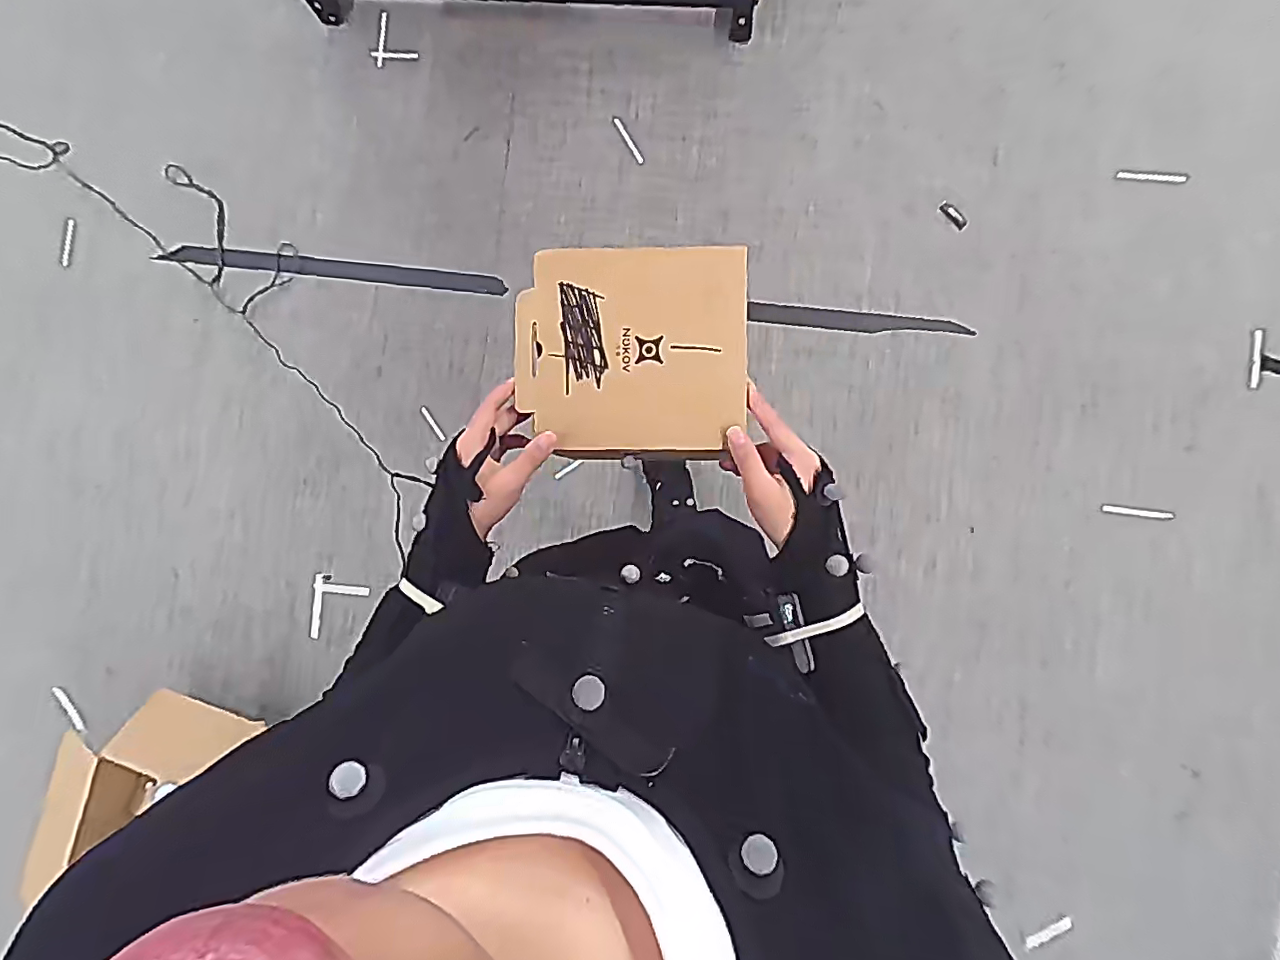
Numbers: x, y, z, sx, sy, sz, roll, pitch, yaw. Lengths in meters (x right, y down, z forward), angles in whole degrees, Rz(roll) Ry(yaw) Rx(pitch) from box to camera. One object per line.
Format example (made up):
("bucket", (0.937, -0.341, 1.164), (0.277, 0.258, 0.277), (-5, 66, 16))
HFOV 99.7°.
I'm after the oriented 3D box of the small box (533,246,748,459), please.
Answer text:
("small box", (0.004, -0.107, 0.520), (0.179, 0.176, 0.168), (0, 89, 3))
